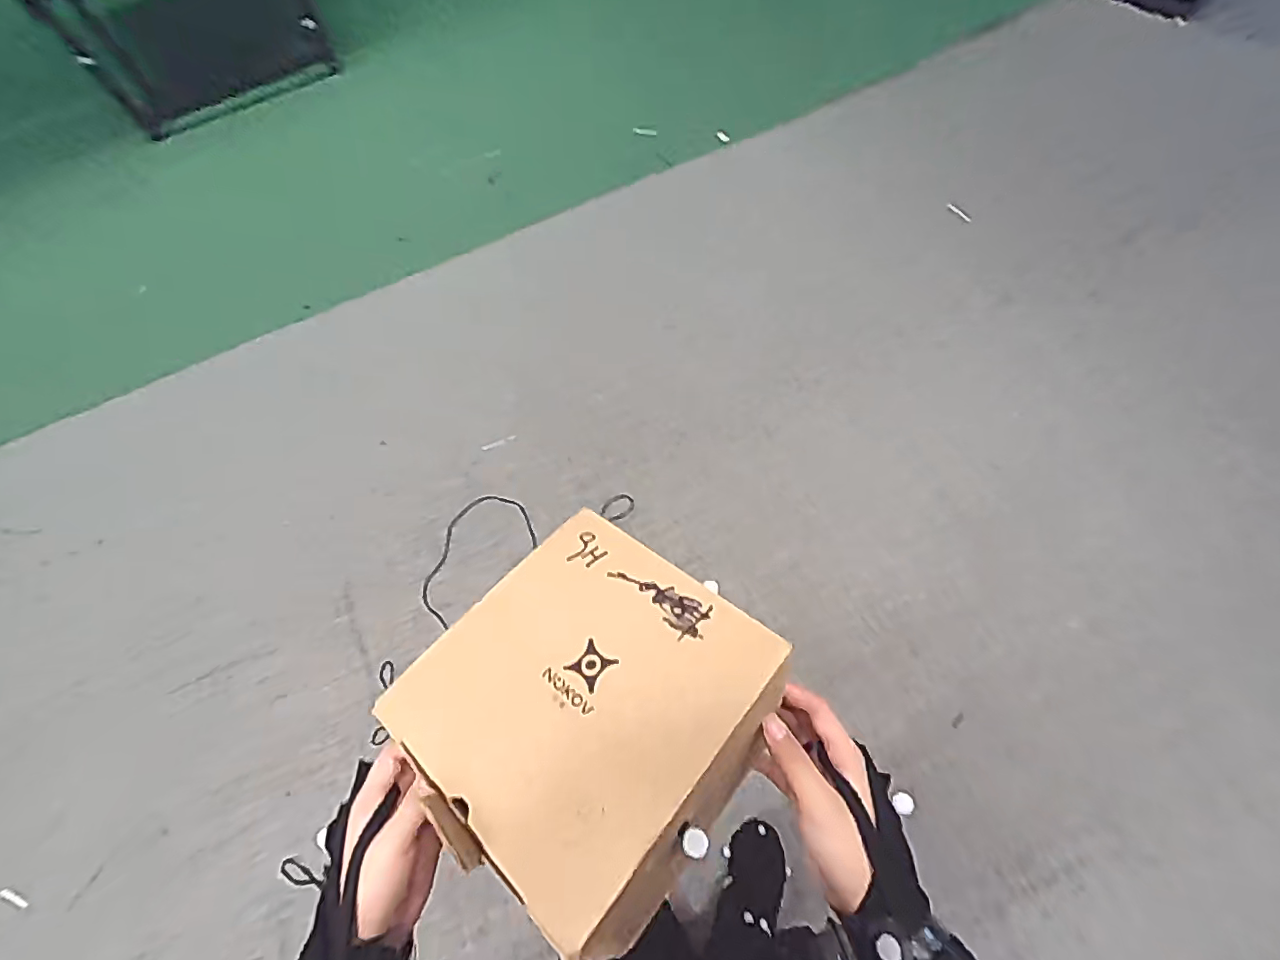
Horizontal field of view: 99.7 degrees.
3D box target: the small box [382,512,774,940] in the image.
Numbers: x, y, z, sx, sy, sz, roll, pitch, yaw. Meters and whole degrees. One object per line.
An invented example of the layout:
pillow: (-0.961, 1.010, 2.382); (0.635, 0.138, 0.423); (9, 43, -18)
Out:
small box: (-0.026, 0.162, 0.370); (0.168, 0.176, 0.179); (30, 61, 29)
